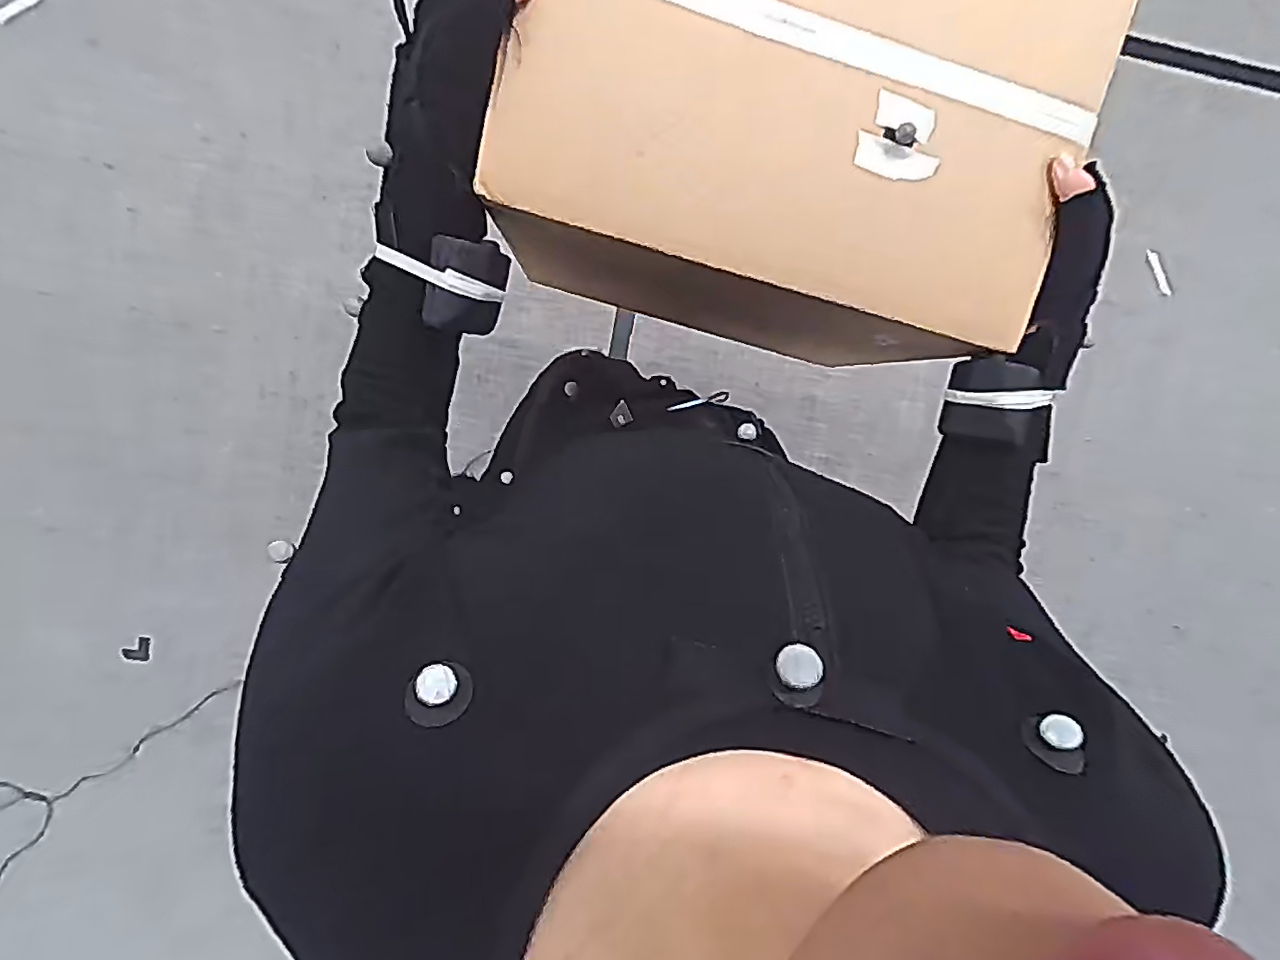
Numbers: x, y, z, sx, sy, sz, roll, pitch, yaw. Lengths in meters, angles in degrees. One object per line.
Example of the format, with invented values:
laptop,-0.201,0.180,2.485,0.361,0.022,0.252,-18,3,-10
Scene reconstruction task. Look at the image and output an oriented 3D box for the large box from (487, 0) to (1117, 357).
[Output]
large box,0.105,-0.320,0.513,0.408,0.320,0.320,13,100,-8
